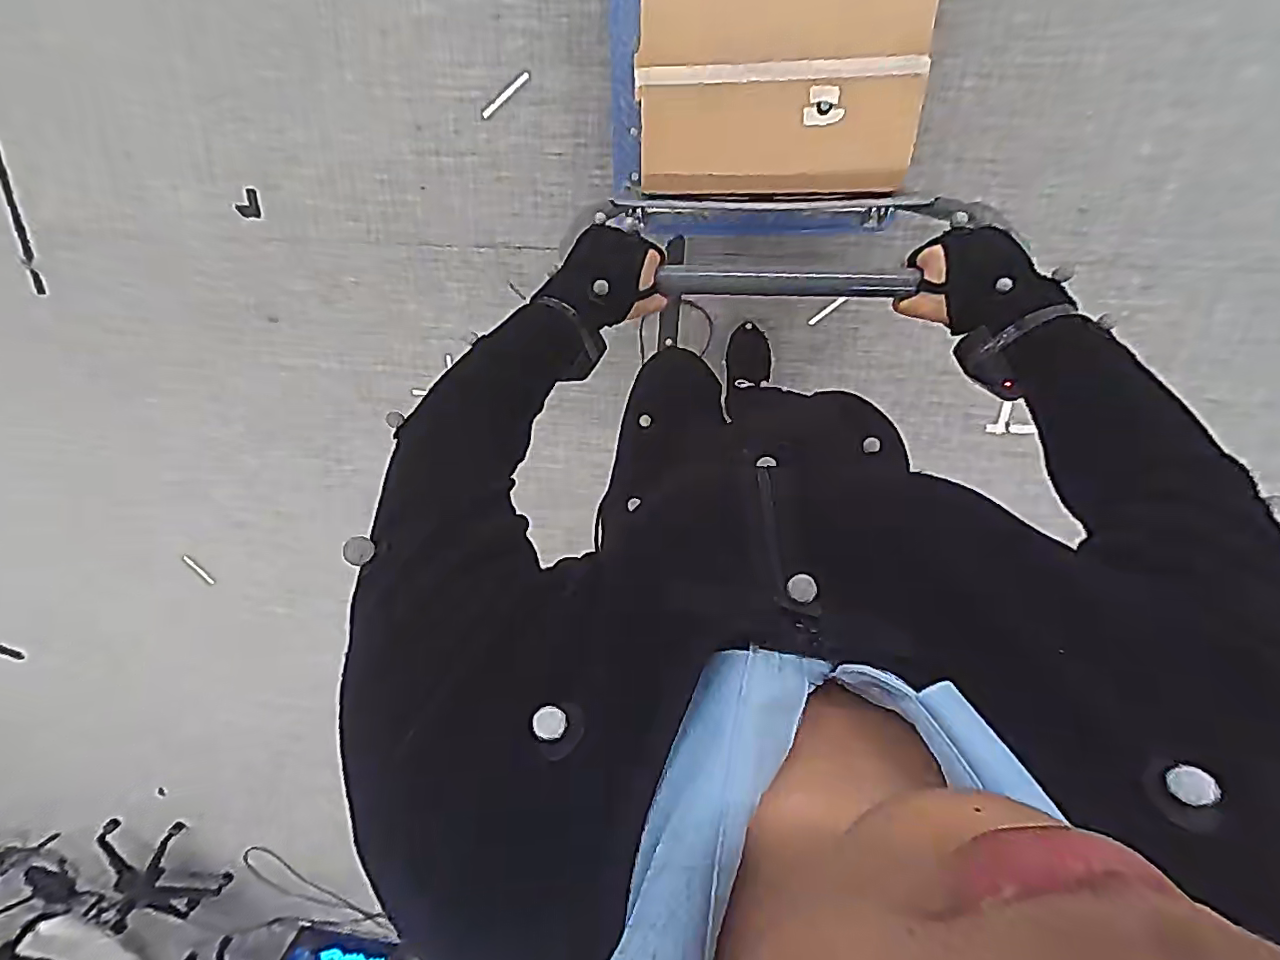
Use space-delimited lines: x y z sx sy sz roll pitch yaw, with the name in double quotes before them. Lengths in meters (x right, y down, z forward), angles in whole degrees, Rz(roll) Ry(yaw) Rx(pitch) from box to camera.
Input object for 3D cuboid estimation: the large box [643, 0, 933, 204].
"large box" 0.221 -0.656 0.924 0.408 0.320 0.320 2 117 6
